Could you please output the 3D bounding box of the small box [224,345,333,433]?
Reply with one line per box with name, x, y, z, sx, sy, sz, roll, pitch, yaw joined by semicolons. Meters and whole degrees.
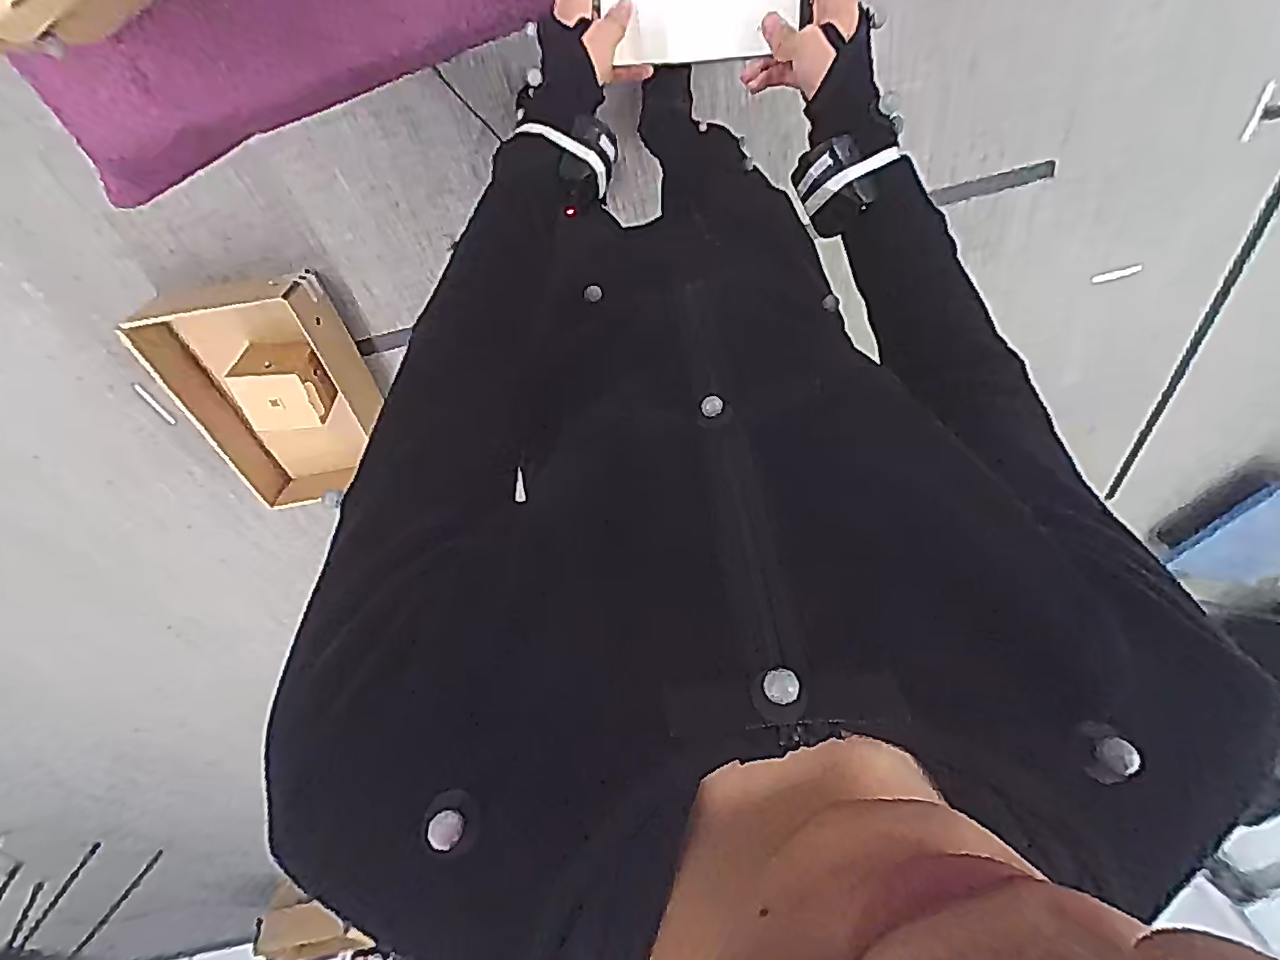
small box;-0.937;-0.244;1.428;0.179;0.176;0.168;-4;133;-7
